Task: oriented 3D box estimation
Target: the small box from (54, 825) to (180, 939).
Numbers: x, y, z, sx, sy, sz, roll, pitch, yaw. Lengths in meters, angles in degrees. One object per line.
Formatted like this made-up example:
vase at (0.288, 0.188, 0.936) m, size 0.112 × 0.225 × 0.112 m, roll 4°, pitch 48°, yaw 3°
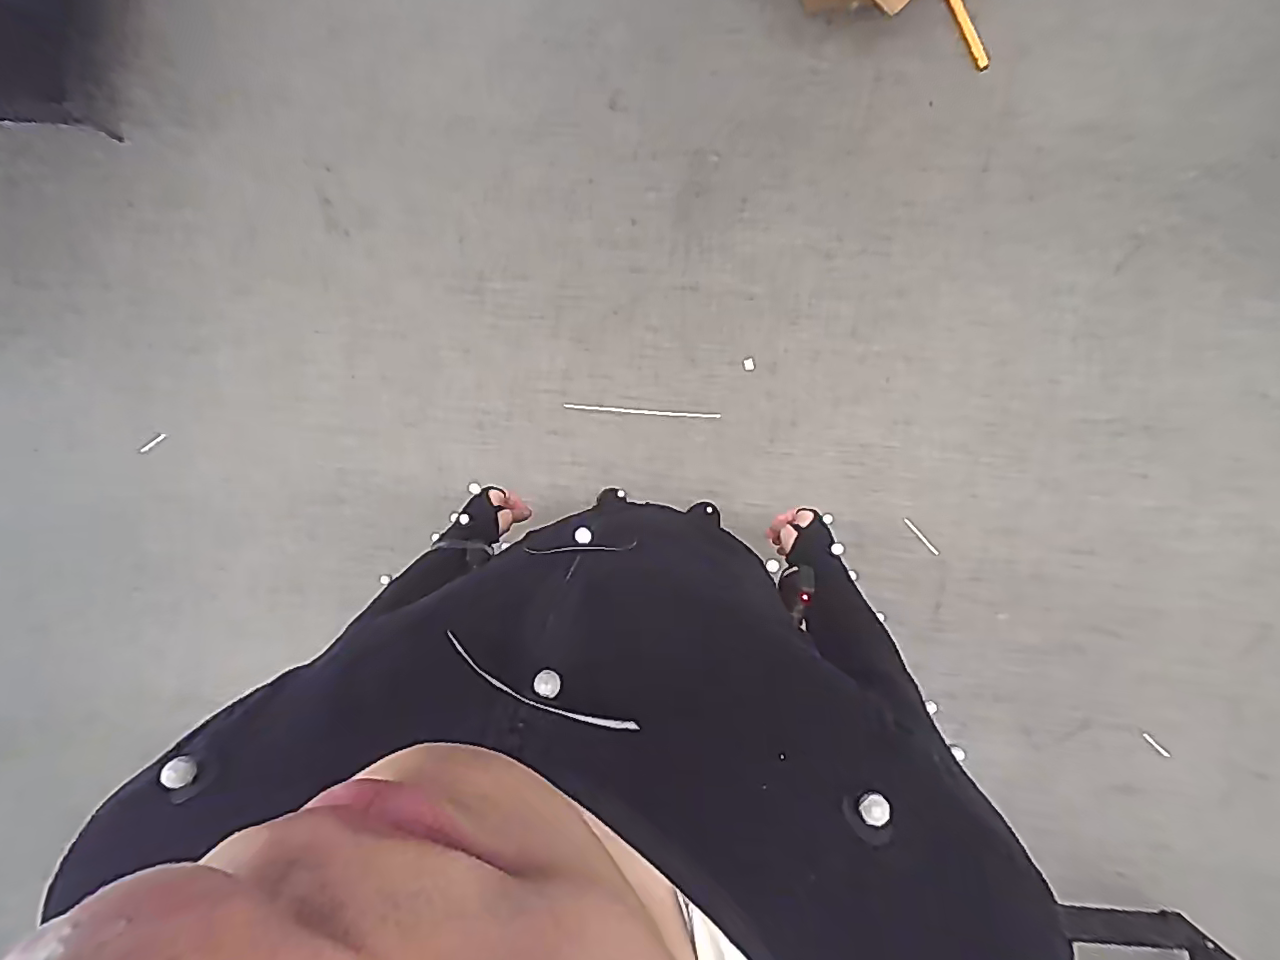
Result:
small box at (-1.361, 1.045, 1.420) m, size 0.168 × 0.176 × 0.179 m, roll 5°, pitch 89°, yaw 3°
